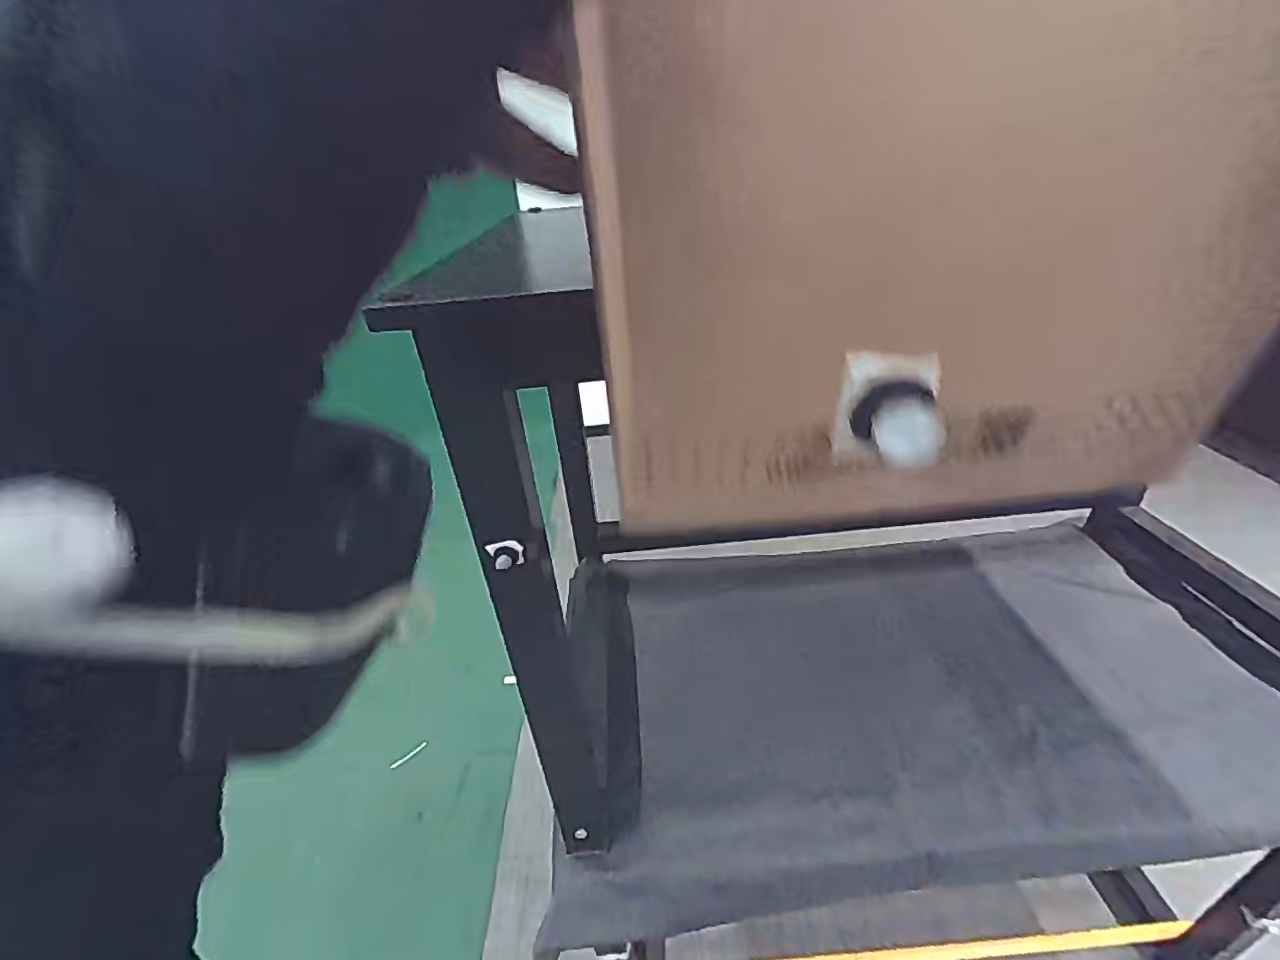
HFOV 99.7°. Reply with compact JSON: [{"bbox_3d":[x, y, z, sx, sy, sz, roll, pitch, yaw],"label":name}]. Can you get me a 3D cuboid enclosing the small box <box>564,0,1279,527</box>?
[{"bbox_3d":[0.064,-0.107,0.187,0.168,0.176,0.179,-7,39,-1],"label":"small box"}]
